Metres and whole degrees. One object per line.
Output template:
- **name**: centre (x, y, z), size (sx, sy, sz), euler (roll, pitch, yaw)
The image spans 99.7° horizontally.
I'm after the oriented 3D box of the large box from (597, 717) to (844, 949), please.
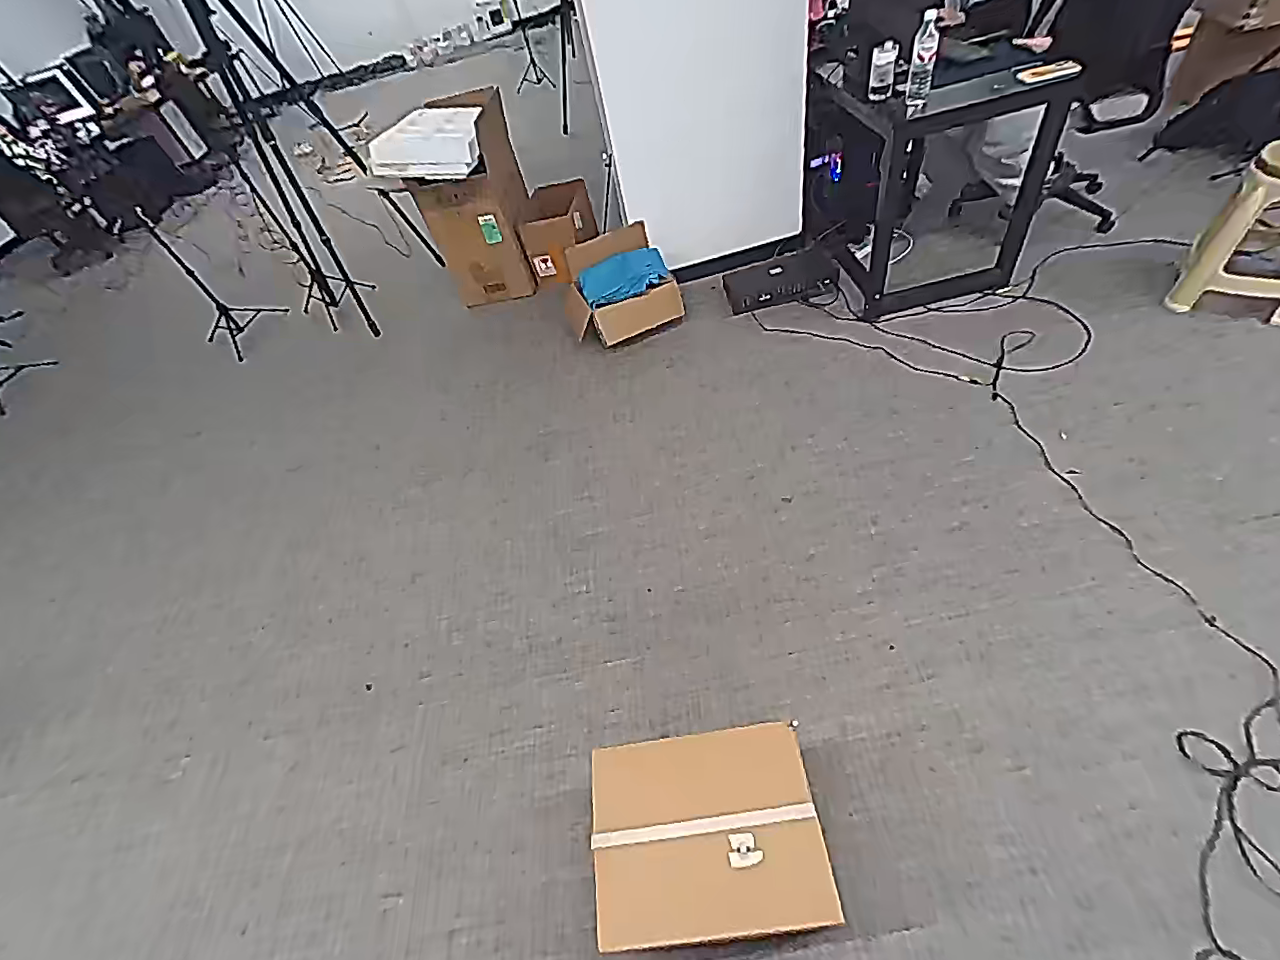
- **large box**: centre (0.147, 0.714, 1.087), size (0.408, 0.320, 0.320), euler (-11, 49, 5)
